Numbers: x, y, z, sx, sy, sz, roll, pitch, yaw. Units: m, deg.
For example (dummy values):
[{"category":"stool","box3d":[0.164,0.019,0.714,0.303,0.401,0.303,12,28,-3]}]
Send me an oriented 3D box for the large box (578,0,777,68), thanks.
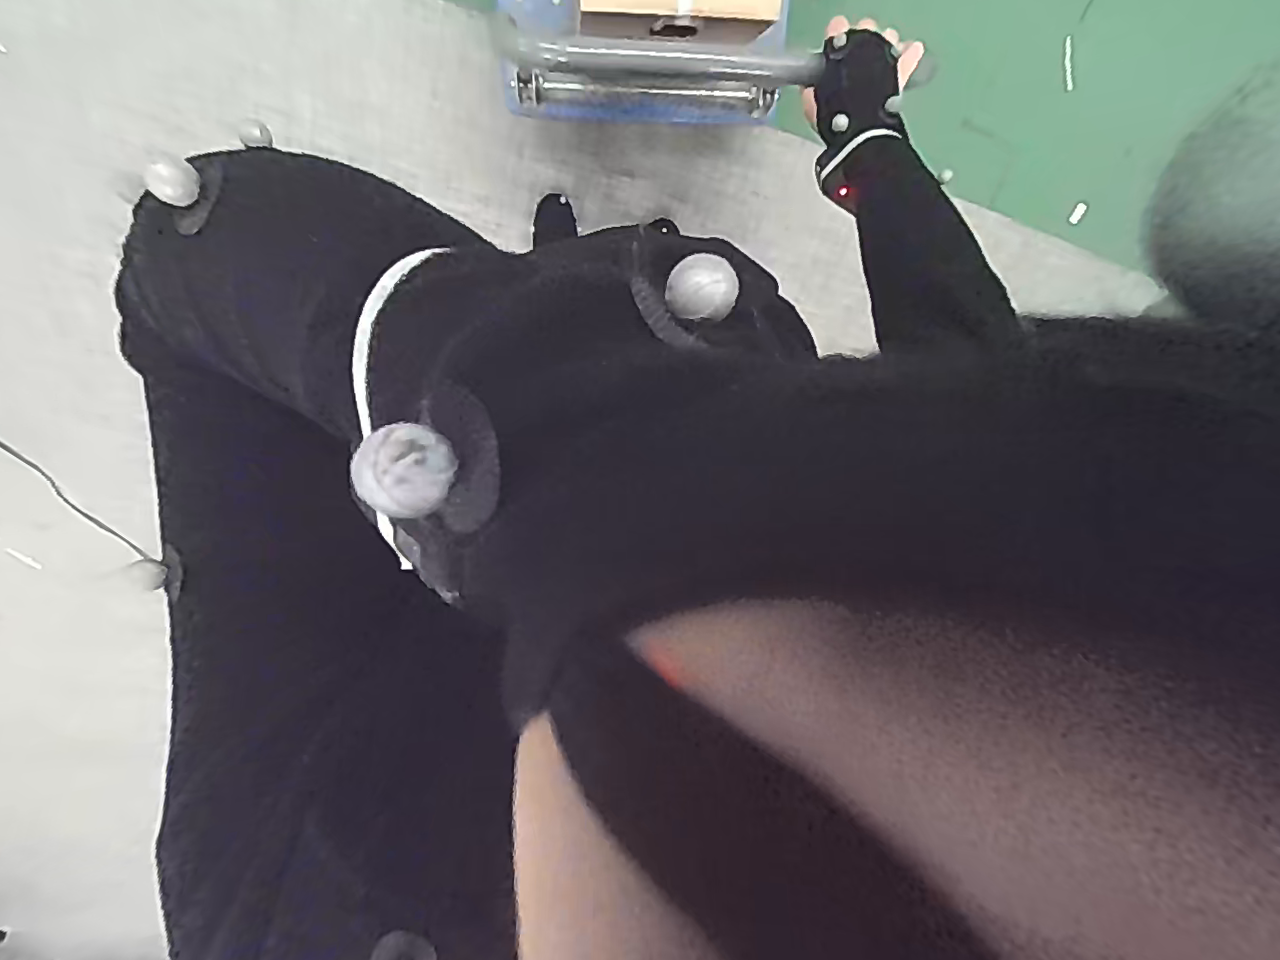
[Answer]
[{"category":"large box","box3d":[0.046,-0.953,0.886,0.320,0.320,0.408,-2,117,-6]}]
